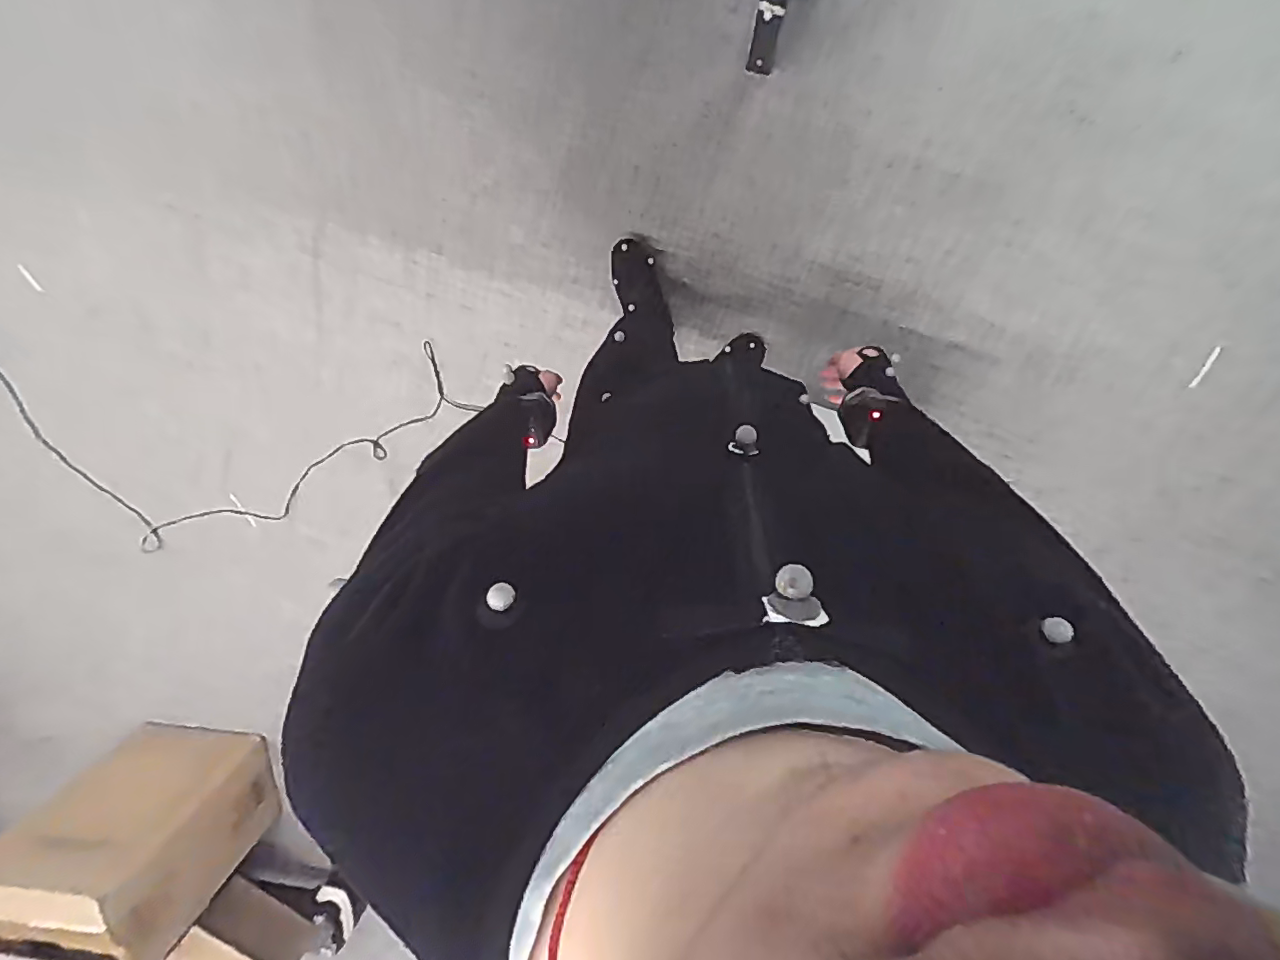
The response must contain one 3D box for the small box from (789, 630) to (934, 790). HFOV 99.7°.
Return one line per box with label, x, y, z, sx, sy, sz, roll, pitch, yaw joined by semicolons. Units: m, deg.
small box;0.384;0.409;0.981;0.168;0.176;0.179;19;109;-3
